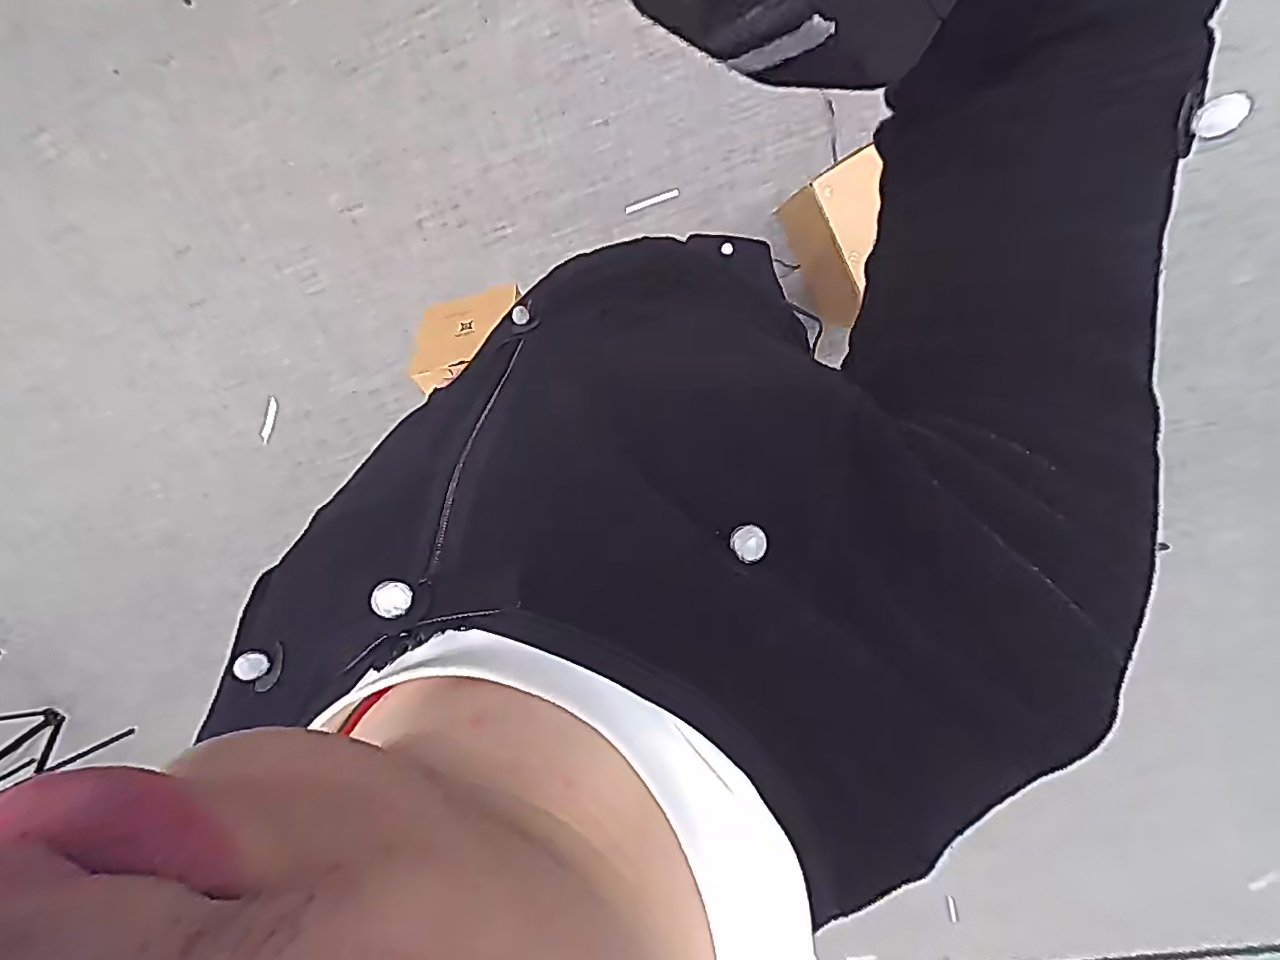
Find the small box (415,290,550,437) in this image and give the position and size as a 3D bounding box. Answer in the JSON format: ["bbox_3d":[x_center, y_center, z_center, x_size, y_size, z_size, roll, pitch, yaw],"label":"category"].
[{"bbox_3d":[-0.261,-0.193,0.942,0.168,0.179,0.176,-12,143,7],"label":"small box"}]
